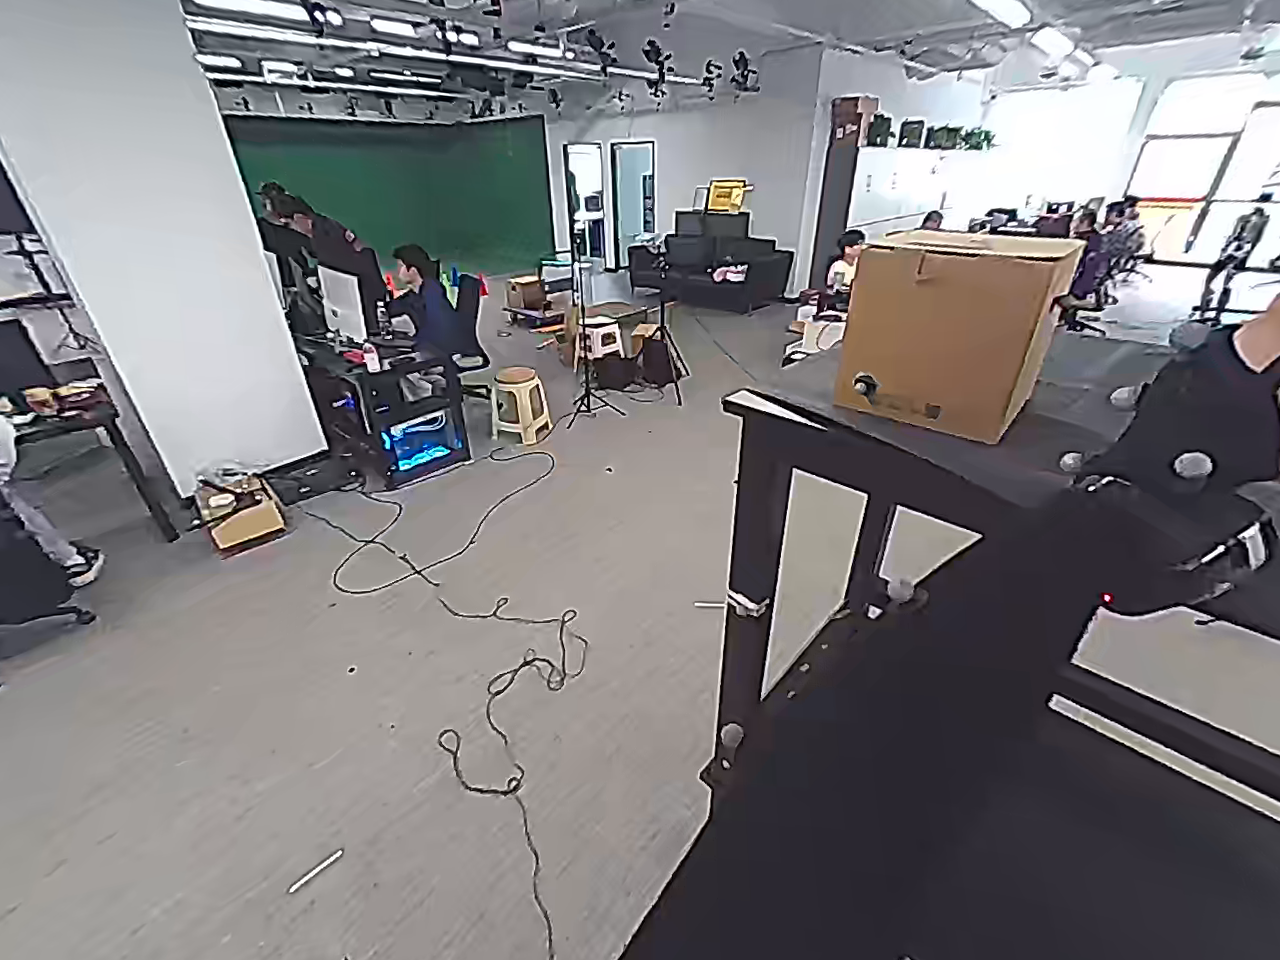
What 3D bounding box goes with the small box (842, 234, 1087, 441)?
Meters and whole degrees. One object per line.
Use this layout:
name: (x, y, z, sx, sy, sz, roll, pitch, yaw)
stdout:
small box: (0.331, -0.158, 0.573, 0.168, 0.176, 0.179, 24, 38, 35)
